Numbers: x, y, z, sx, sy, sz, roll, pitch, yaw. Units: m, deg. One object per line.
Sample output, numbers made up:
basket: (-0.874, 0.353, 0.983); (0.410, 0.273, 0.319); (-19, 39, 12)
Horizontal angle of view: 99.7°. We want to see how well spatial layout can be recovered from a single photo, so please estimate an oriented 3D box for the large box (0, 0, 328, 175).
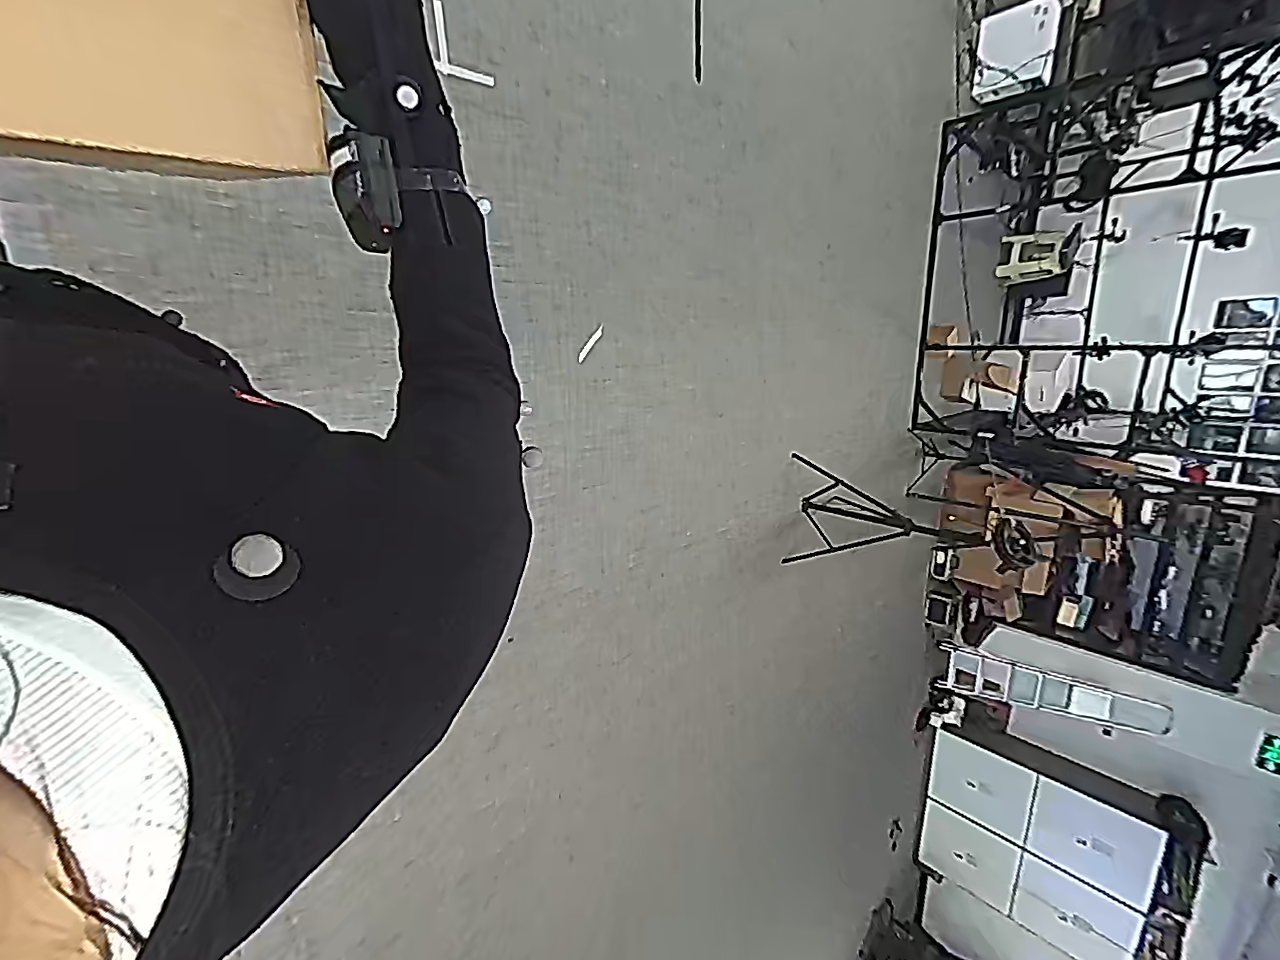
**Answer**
large box: (-0.455, -0.358, 0.284); (0.408, 0.320, 0.320); (-19, 124, -41)
